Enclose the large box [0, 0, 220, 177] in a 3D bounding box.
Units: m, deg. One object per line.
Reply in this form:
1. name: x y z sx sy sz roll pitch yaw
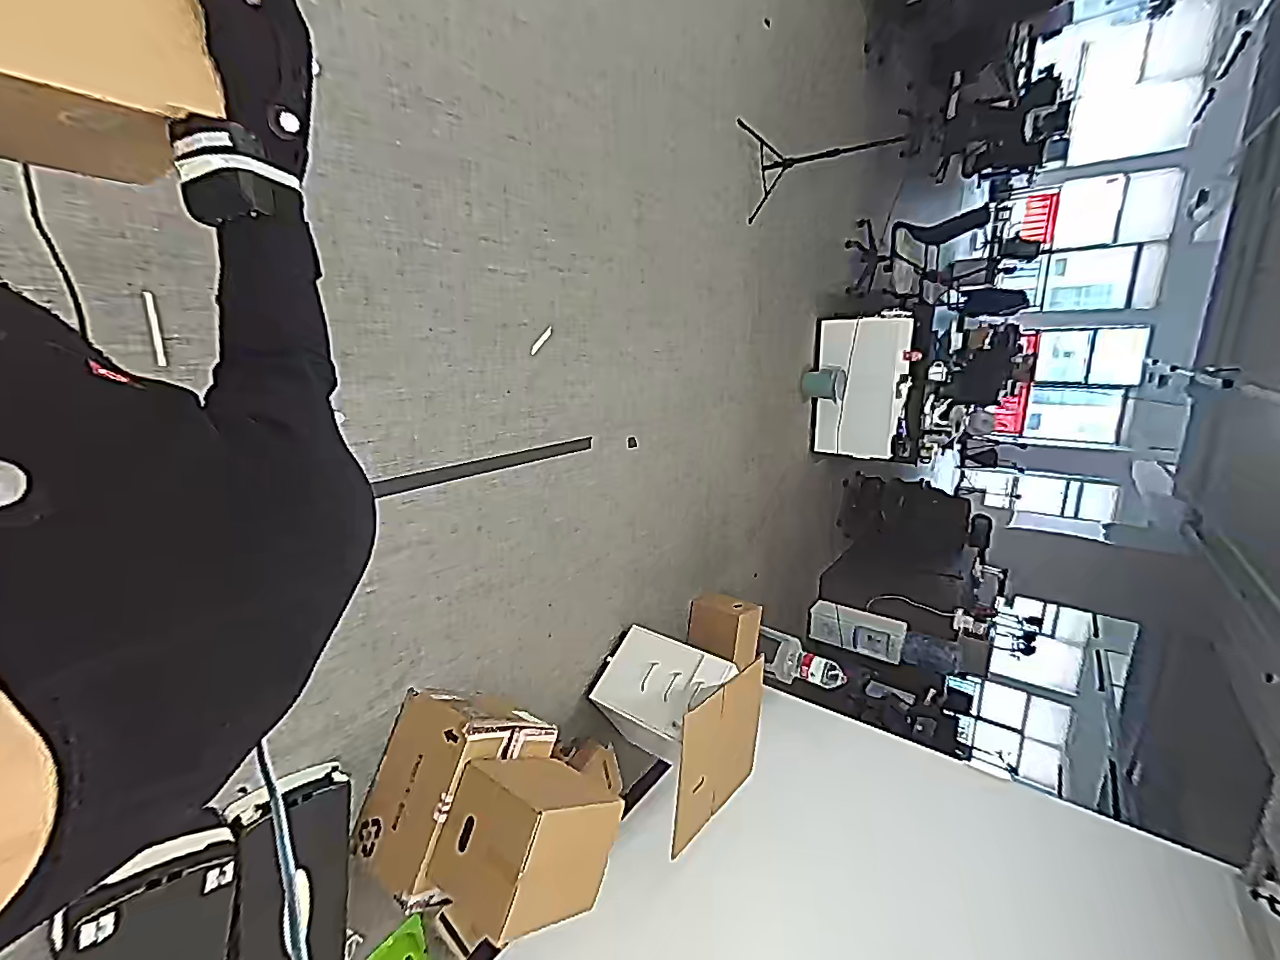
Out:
1. large box: -0.561 -0.418 0.325 0.408 0.320 0.320 -14 113 -49
